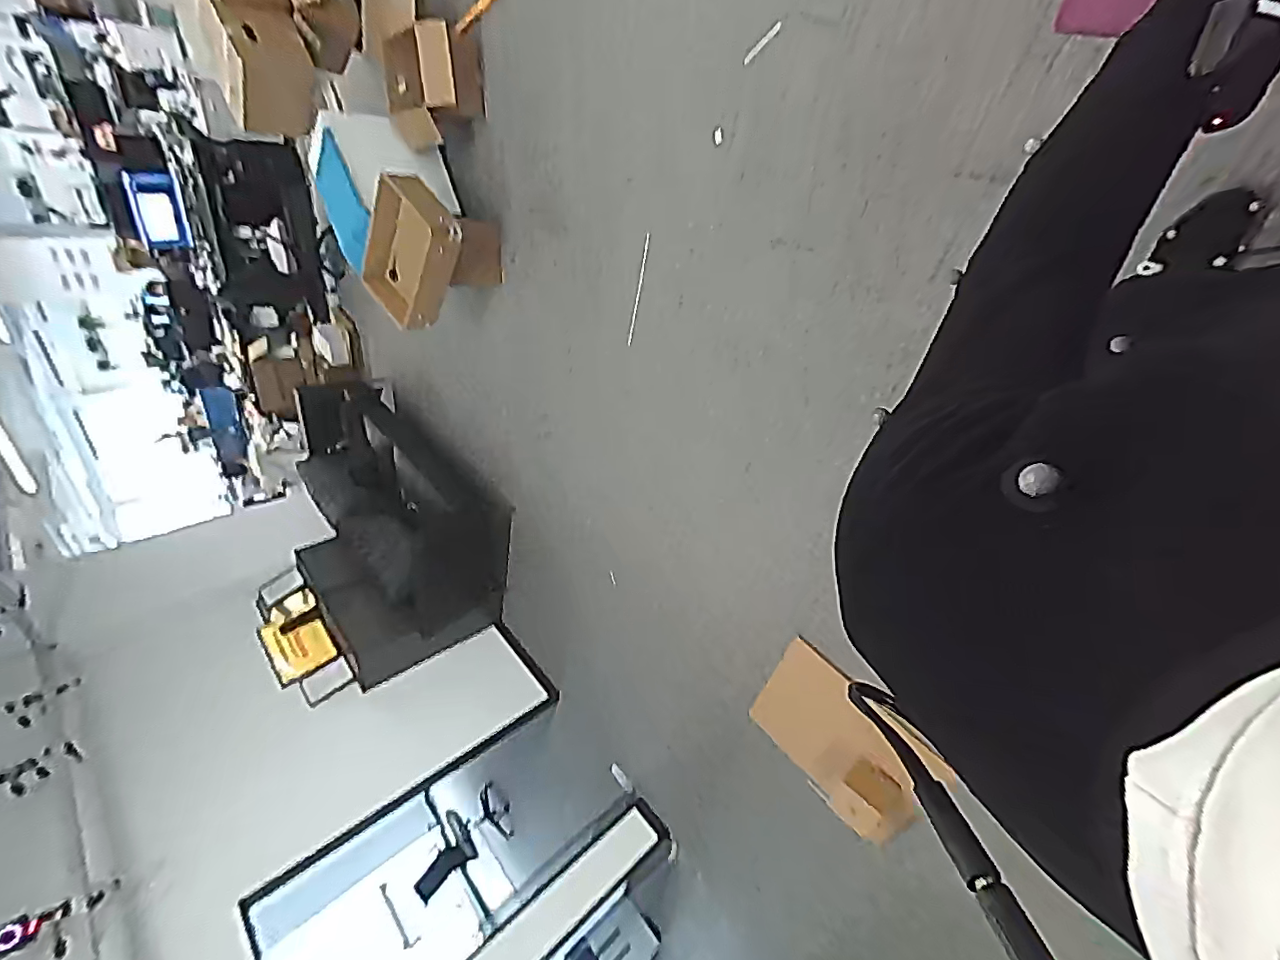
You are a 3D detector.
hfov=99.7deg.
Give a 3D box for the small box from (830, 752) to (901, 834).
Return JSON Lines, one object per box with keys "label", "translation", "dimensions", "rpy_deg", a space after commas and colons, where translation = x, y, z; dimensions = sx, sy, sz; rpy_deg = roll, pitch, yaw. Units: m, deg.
{"label": "small box", "translation": [0.857, 1.184, 2.051], "dimensions": [0.168, 0.176, 0.179], "rpy_deg": [35, 130, 35]}
